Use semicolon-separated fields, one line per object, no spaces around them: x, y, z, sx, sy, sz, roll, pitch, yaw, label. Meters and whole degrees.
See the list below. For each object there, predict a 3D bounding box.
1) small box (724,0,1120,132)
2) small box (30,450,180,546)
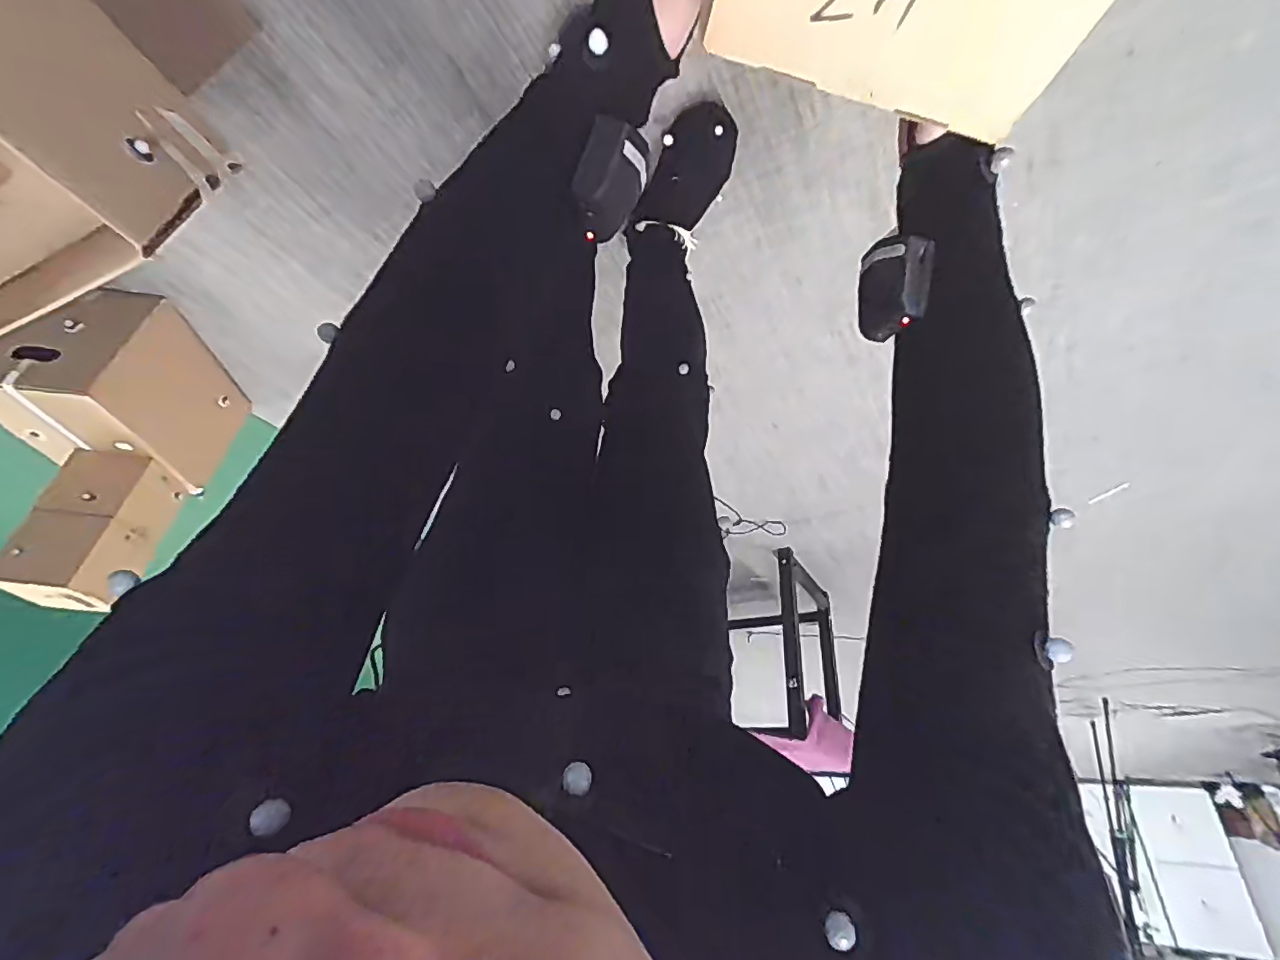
0.141;-0.305;0.236;0.168;0.176;0.179;11;149;-9;small box
-1.265;0.043;1.303;0.179;0.176;0.168;8;147;-6;small box
